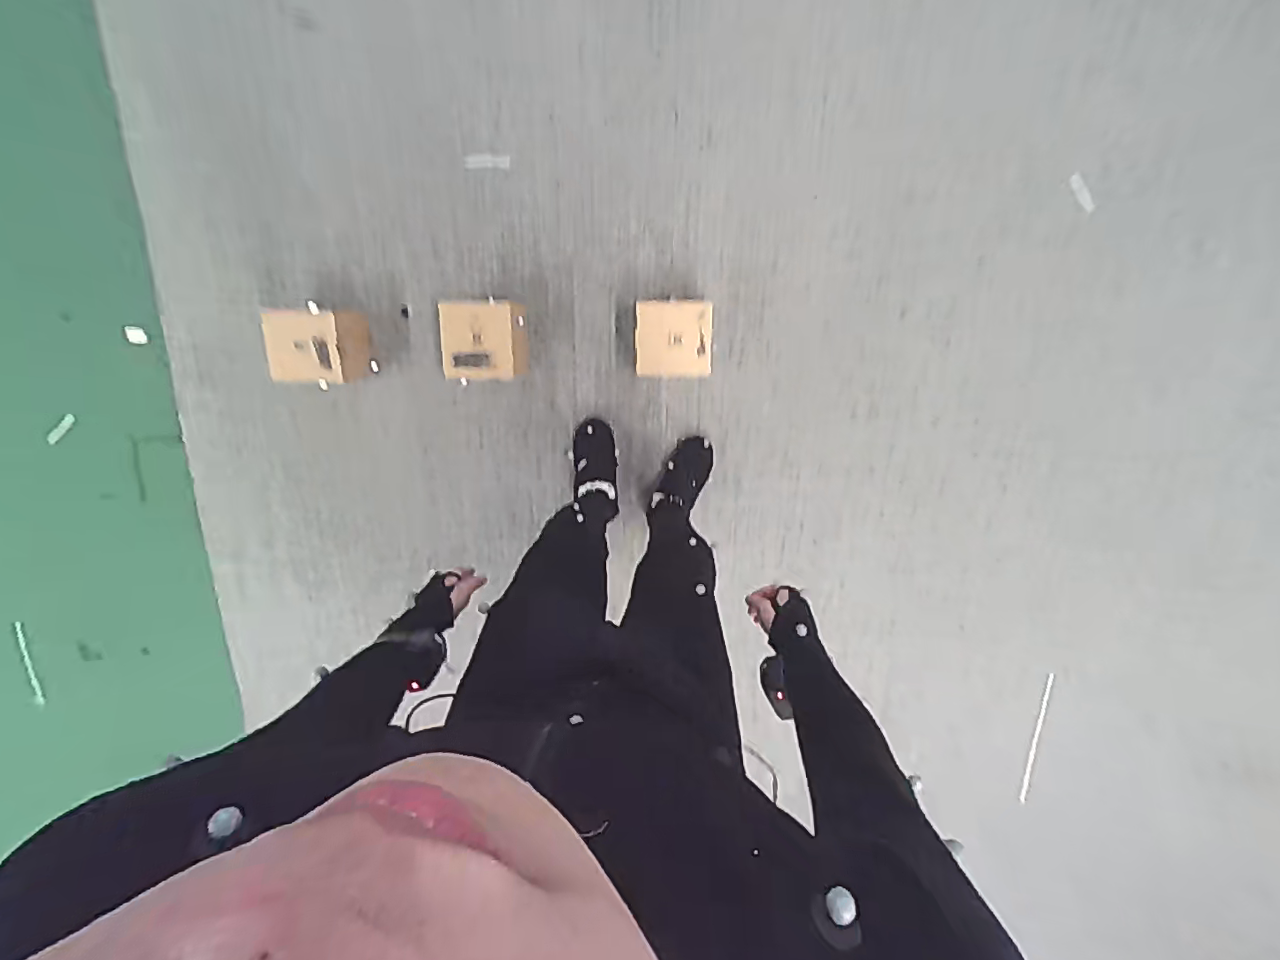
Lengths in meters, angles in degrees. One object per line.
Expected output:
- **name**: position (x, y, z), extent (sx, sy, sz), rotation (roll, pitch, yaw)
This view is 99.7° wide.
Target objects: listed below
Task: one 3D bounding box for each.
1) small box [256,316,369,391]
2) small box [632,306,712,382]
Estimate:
- **small box**: position (-0.784, -0.311, 1.320), extent (0.179, 0.176, 0.168), rotation (2, 104, 1)
- **small box**: position (0.074, -0.327, 1.303), extent (0.179, 0.176, 0.168), rotation (1, 105, 1)
